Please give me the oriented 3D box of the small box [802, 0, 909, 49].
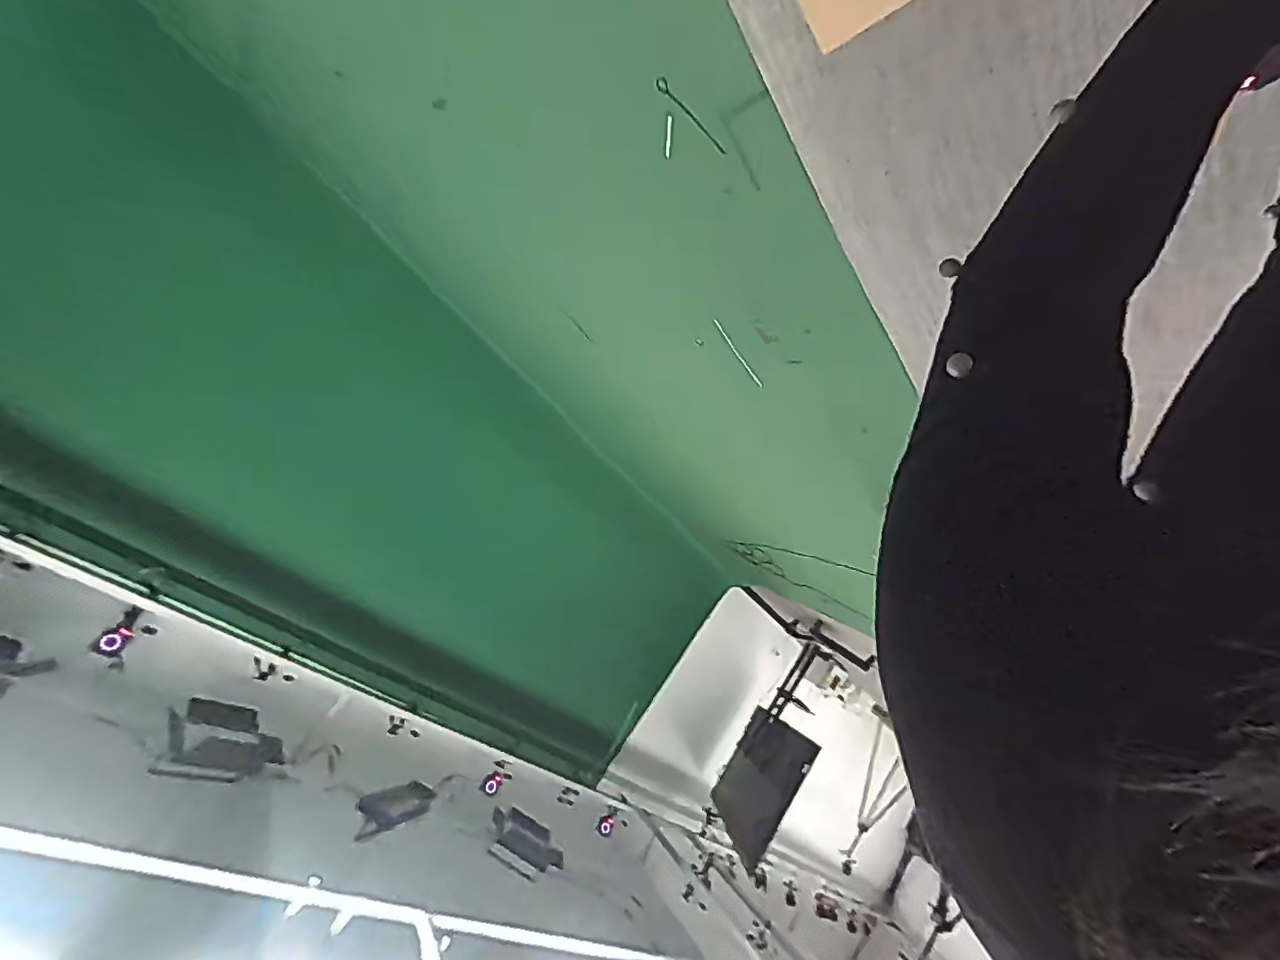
[{"bbox_3d":[0.280,-0.665,0.615,0.179,0.176,0.168,43,166,-30],"label":"small box"}]
